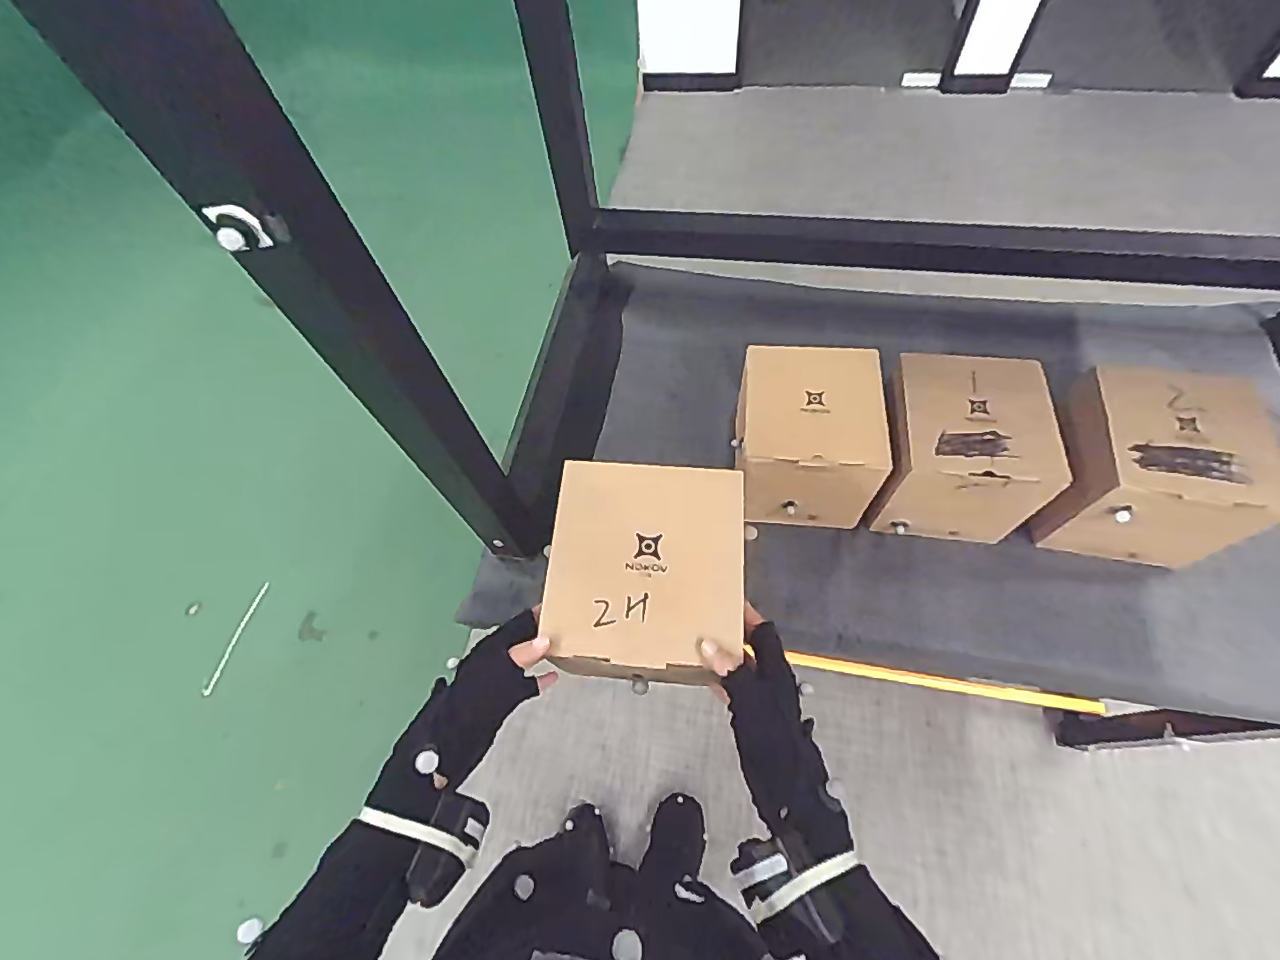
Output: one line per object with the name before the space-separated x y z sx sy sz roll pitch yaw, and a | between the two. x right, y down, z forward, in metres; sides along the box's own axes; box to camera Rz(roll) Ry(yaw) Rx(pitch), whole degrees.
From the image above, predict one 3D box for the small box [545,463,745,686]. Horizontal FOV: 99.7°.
small box | 0.012 0.101 0.548 0.168 0.176 0.179 3 64 5
